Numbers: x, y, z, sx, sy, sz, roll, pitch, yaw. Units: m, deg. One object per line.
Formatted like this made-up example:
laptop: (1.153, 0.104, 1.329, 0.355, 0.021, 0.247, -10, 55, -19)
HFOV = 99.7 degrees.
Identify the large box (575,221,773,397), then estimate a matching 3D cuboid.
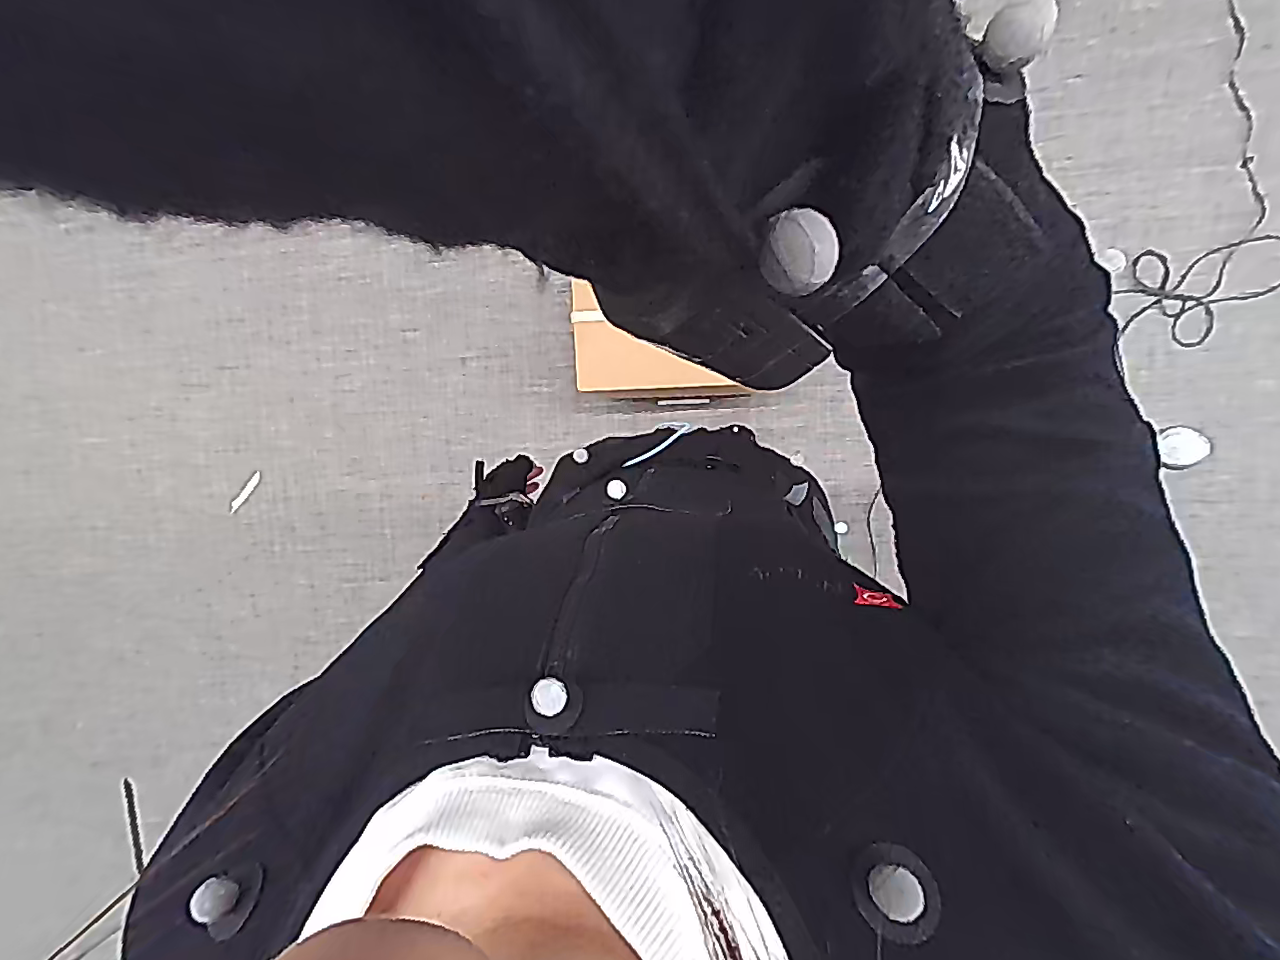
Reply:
large box: (0.083, -0.369, 1.258, 0.408, 0.320, 0.320, -2, 96, 7)

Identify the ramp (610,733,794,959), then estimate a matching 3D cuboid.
ramp: (0.160, 1.210, 1.453, 0.509, 0.206, 0.991, -1, 95, 9)
